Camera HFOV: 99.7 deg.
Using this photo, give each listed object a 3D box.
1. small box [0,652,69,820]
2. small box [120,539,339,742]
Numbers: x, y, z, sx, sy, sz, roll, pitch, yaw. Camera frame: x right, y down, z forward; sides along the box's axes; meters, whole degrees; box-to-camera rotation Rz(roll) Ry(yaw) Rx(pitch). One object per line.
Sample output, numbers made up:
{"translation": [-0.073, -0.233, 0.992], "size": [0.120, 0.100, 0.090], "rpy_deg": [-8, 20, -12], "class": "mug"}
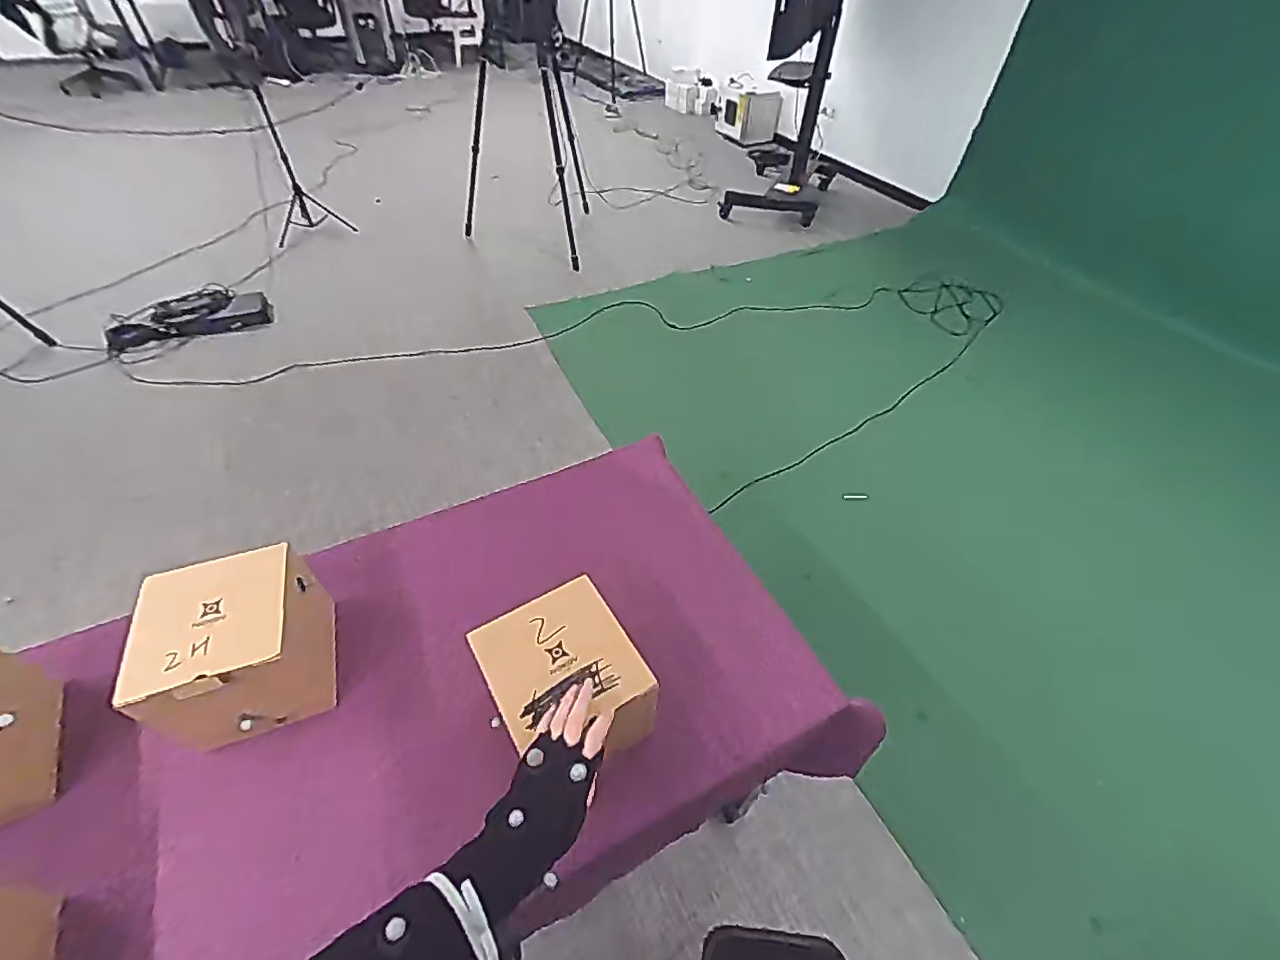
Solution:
{"translation": [-0.815, 0.308, 0.618], "size": [0.168, 0.176, 0.179], "rpy_deg": [-24, 54, -23], "class": "small box"}
{"translation": [-0.518, 0.212, 0.716], "size": [0.168, 0.176, 0.179], "rpy_deg": [-15, 51, -15], "class": "small box"}
